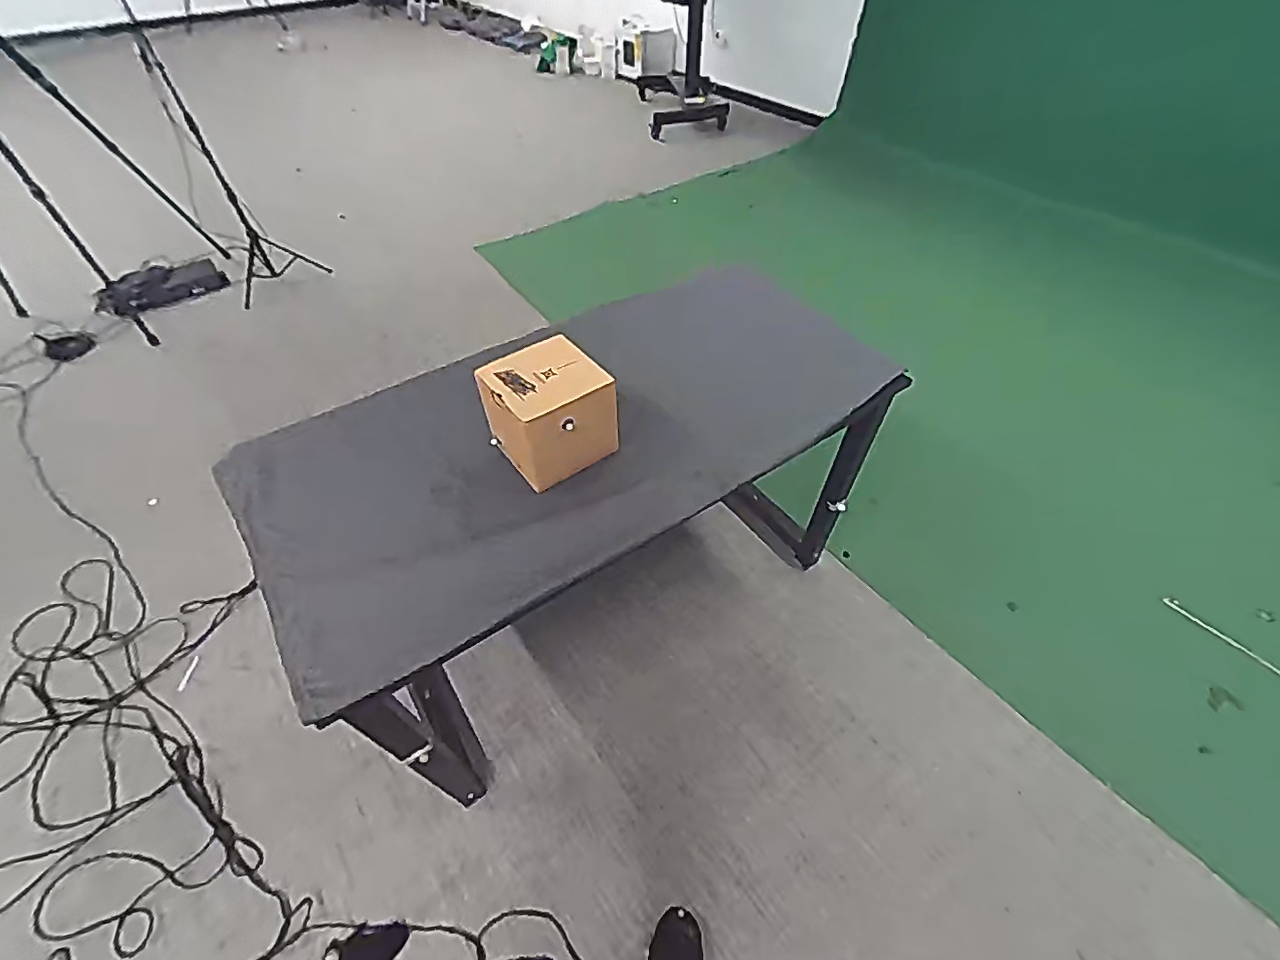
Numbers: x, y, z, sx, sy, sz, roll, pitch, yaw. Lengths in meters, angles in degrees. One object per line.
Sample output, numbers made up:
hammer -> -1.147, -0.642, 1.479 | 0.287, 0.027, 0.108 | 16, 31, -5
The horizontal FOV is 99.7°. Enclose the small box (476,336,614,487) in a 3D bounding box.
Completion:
small box -> -0.158, -0.118, 0.953 | 0.179, 0.176, 0.168 | -30, 56, -24
